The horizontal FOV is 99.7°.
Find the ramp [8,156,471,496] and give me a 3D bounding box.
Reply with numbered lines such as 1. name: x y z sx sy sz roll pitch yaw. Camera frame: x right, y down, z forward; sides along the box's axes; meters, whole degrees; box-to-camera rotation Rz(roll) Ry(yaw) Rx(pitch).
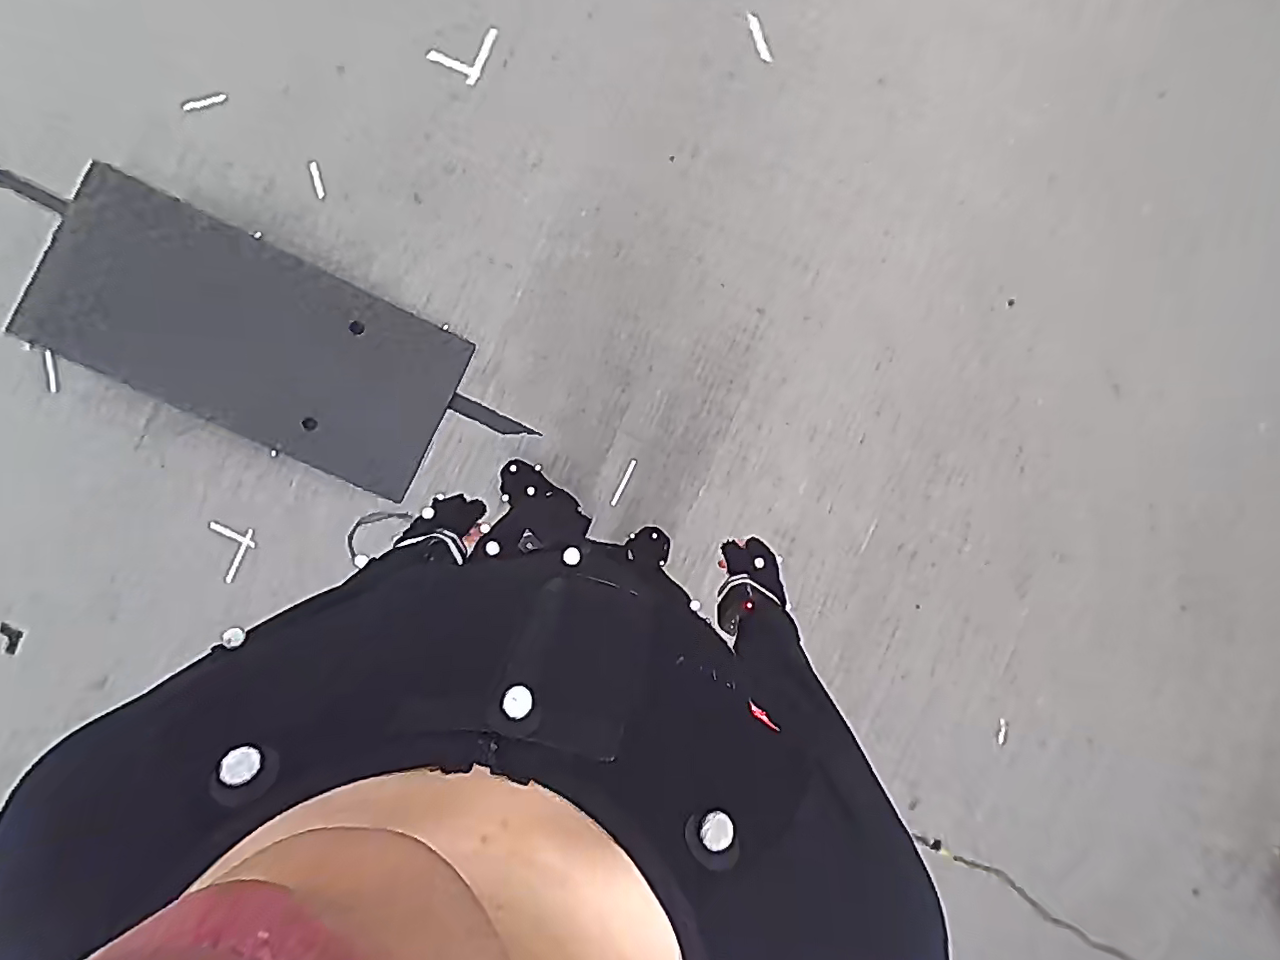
1. ramp: -1.005 -0.380 1.417 0.991 0.206 0.509 24 87 0
